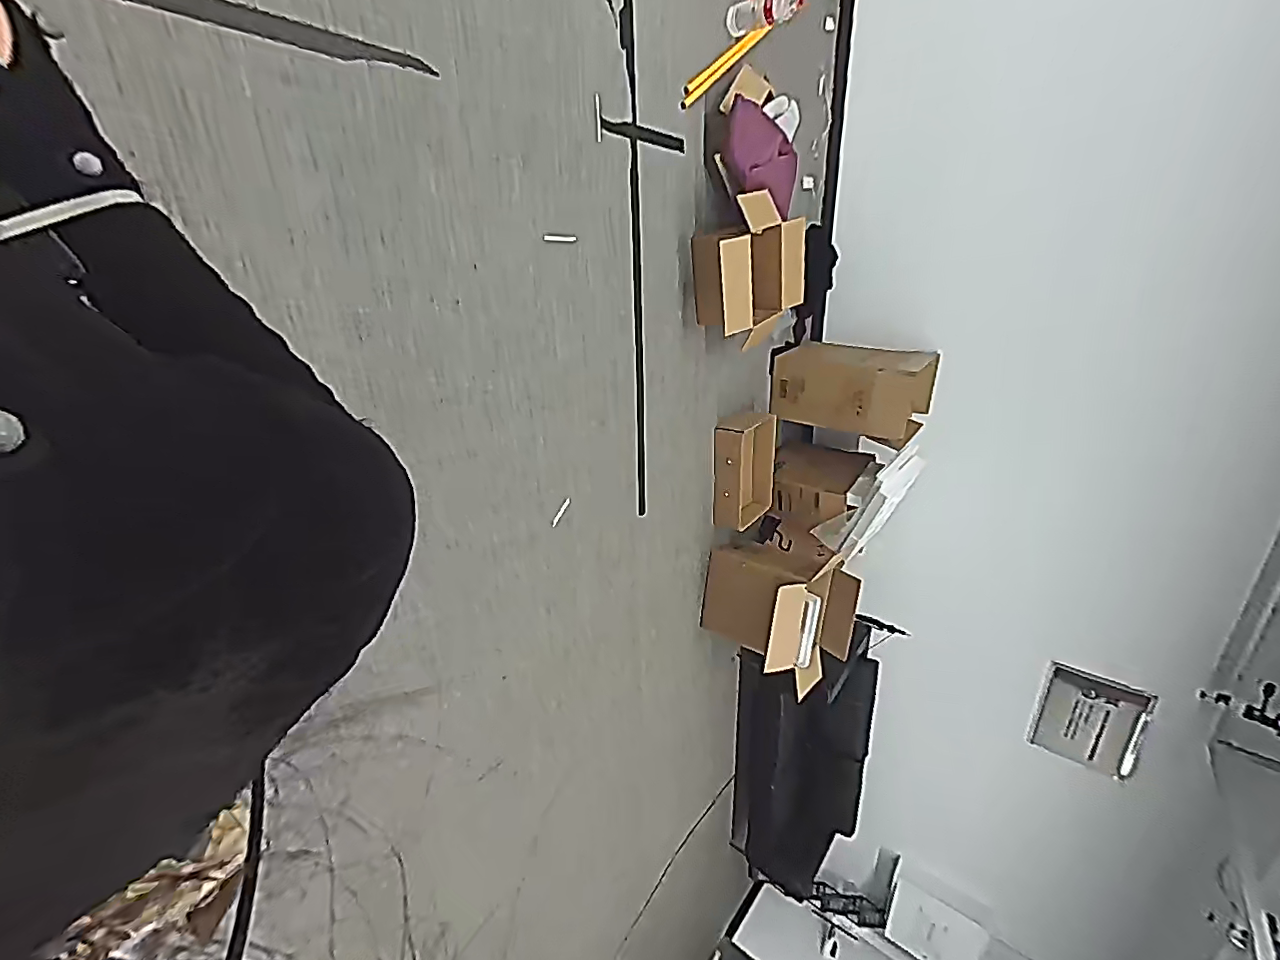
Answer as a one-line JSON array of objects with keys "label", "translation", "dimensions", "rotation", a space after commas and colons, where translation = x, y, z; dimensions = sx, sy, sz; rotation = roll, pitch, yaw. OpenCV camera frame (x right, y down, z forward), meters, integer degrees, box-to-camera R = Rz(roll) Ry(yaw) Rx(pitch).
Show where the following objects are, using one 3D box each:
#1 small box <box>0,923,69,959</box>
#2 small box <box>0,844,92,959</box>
[{"label": "small box", "translation": [-0.725, 0.648, 0.586], "dimensions": [0.179, 0.176, 0.168], "rotation": [-35, 124, -41]}, {"label": "small box", "translation": [-0.853, 0.627, 0.690], "dimensions": [0.179, 0.176, 0.168], "rotation": [-34, 124, -41]}]
